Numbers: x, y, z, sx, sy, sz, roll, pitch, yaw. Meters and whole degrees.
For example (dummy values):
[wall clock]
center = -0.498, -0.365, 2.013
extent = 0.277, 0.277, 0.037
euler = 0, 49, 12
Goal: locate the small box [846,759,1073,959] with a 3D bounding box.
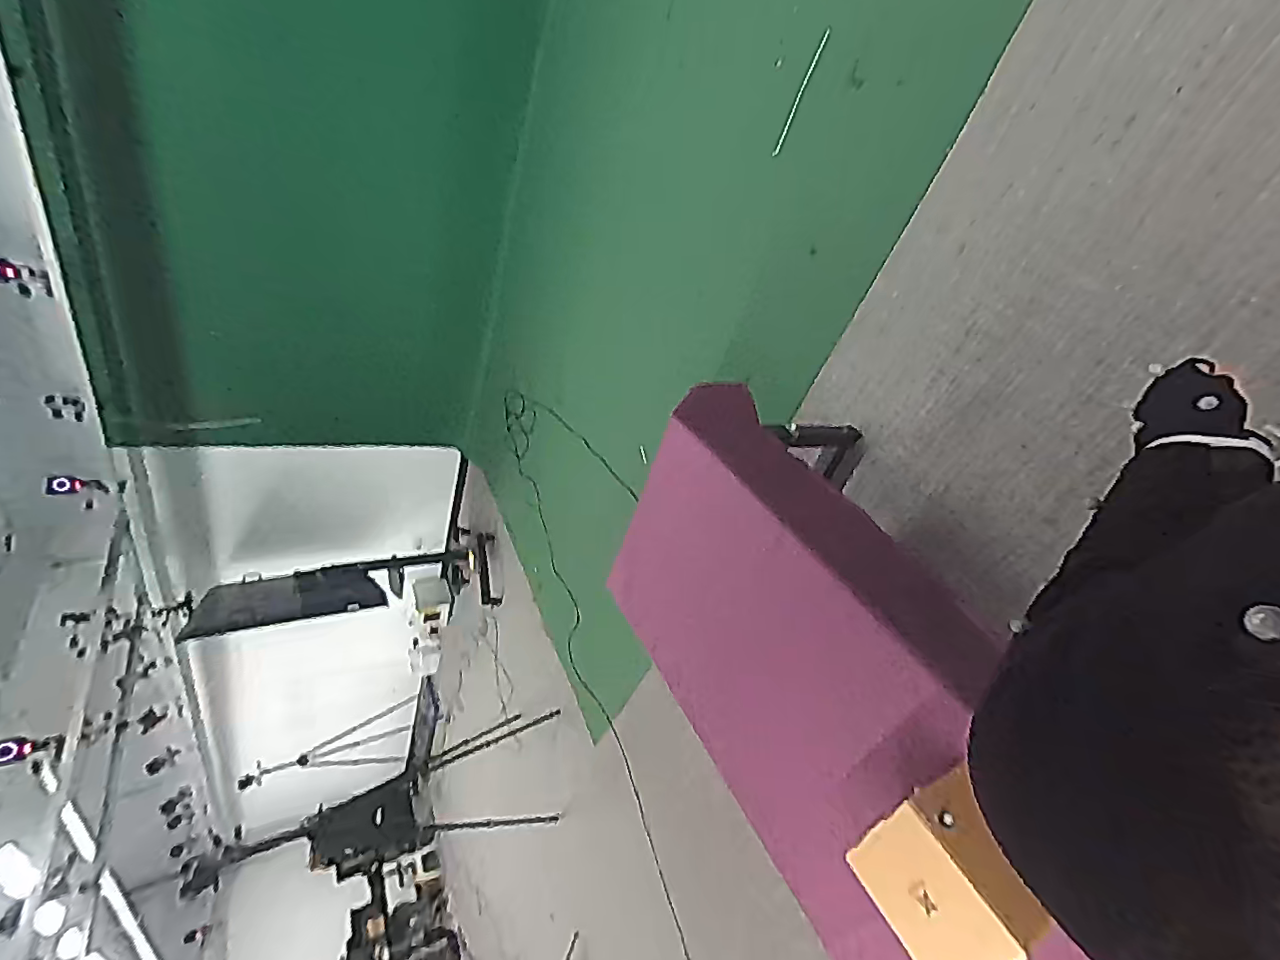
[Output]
[small box]
center = 0.432, 0.524, 0.739
extent = 0.179, 0.176, 0.168
euler = 52, 133, 41
